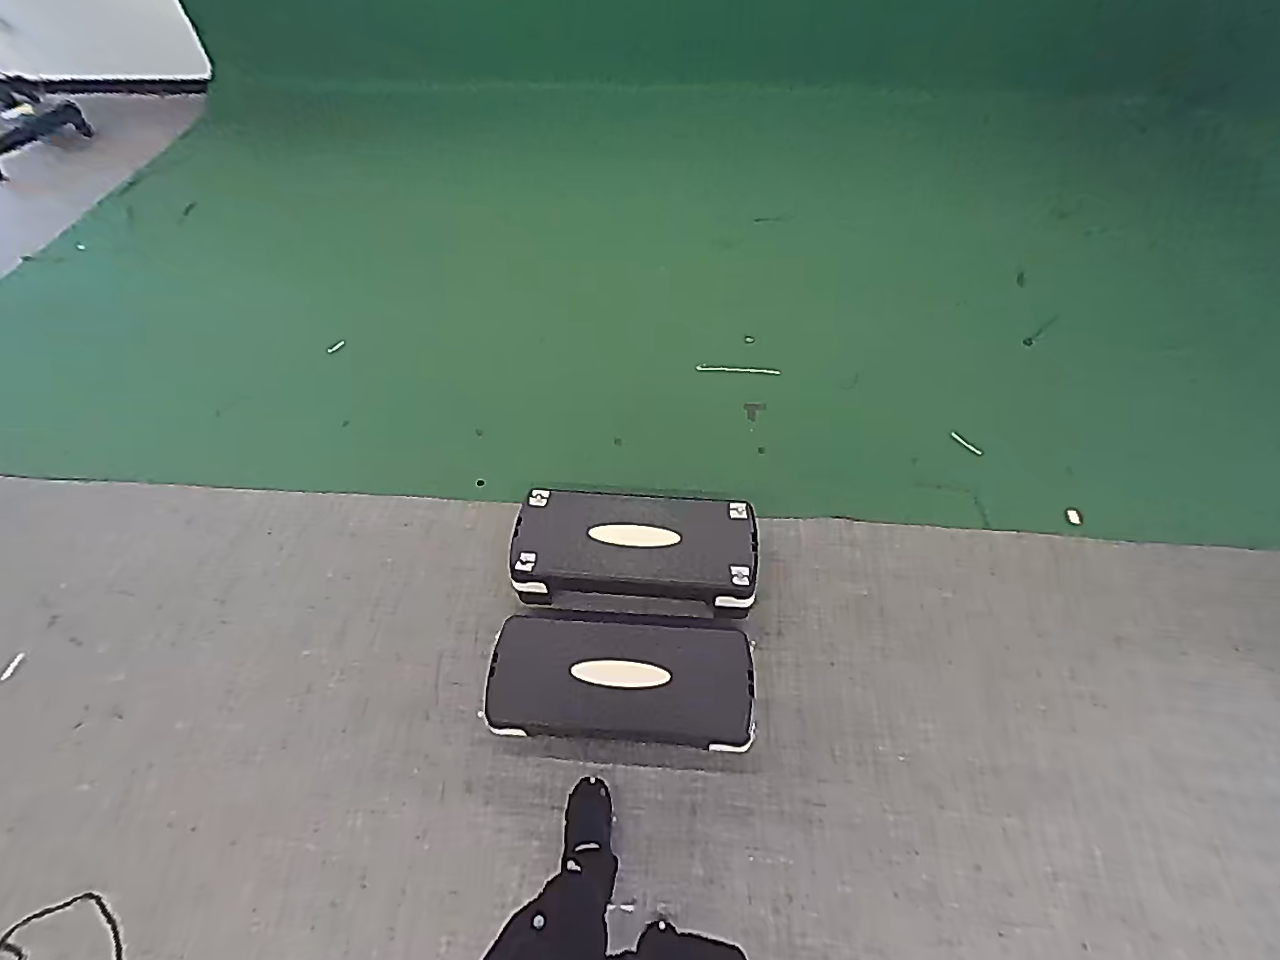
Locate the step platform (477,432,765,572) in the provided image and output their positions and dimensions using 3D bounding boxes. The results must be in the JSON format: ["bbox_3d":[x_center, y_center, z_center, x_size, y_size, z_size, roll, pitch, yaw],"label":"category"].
[{"bbox_3d":[-0.042,0.059,1.372,0.684,0.204,0.286,3,56,4],"label":"step platform"}]
